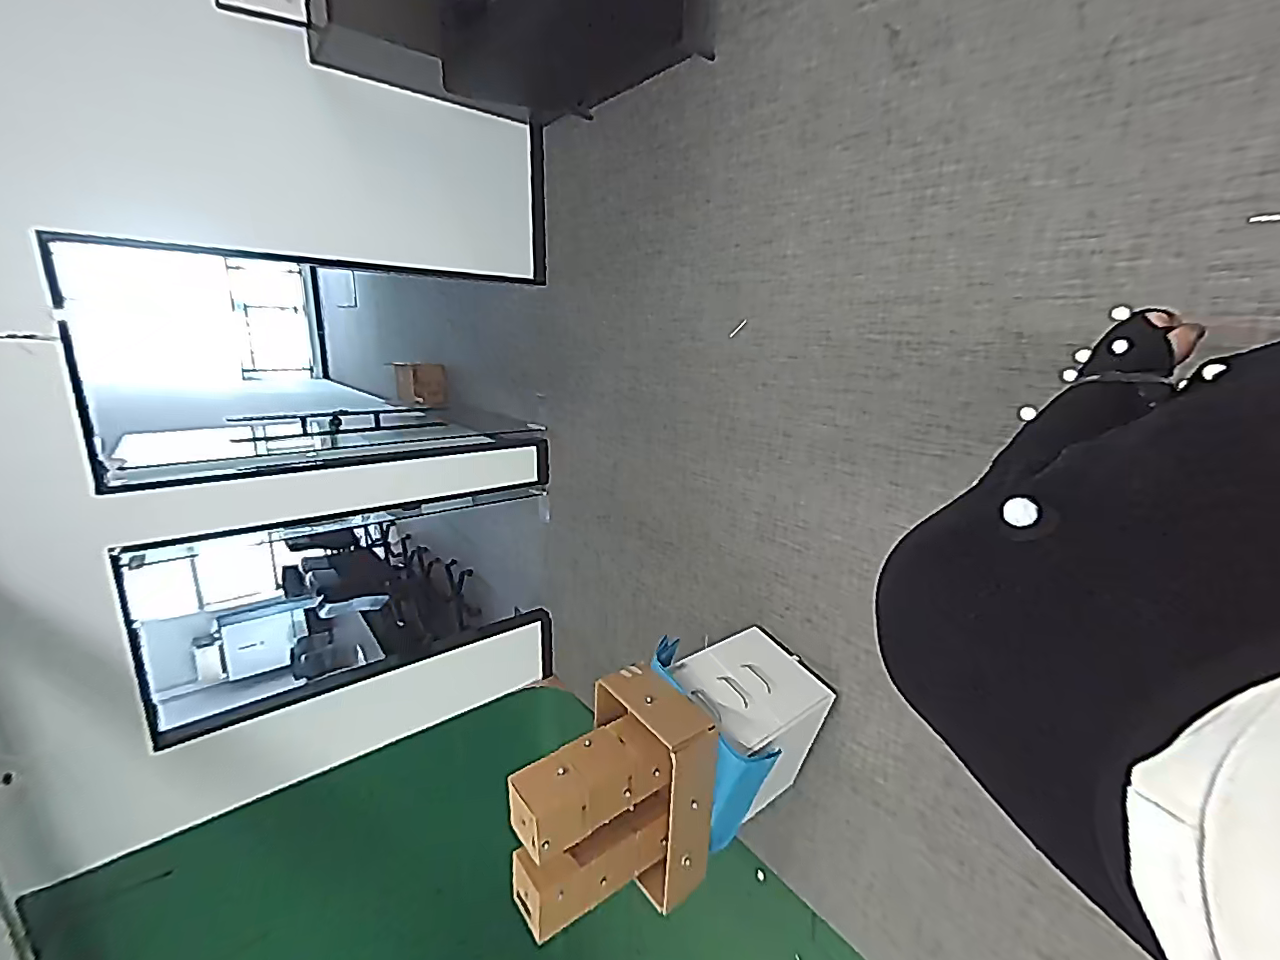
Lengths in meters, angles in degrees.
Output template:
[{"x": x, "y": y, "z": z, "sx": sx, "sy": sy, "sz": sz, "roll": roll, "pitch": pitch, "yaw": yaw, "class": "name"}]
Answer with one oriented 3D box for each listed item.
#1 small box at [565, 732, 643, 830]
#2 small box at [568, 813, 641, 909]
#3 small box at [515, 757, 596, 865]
[{"x": -0.108, "y": 0.886, "z": 1.617, "sx": 0.179, "sy": 0.176, "sz": 0.168, "roll": 19, "pitch": 114, "yaw": 50, "class": "small box"}, {"x": -0.109, "y": 1.155, "z": 1.678, "sx": 0.168, "sy": 0.176, "sz": 0.179, "roll": 18, "pitch": 111, "yaw": 50, "class": "small box"}, {"x": -0.237, "y": 0.915, "z": 1.521, "sx": 0.179, "sy": 0.176, "sz": 0.168, "roll": 19, "pitch": 114, "yaw": 51, "class": "small box"}]
